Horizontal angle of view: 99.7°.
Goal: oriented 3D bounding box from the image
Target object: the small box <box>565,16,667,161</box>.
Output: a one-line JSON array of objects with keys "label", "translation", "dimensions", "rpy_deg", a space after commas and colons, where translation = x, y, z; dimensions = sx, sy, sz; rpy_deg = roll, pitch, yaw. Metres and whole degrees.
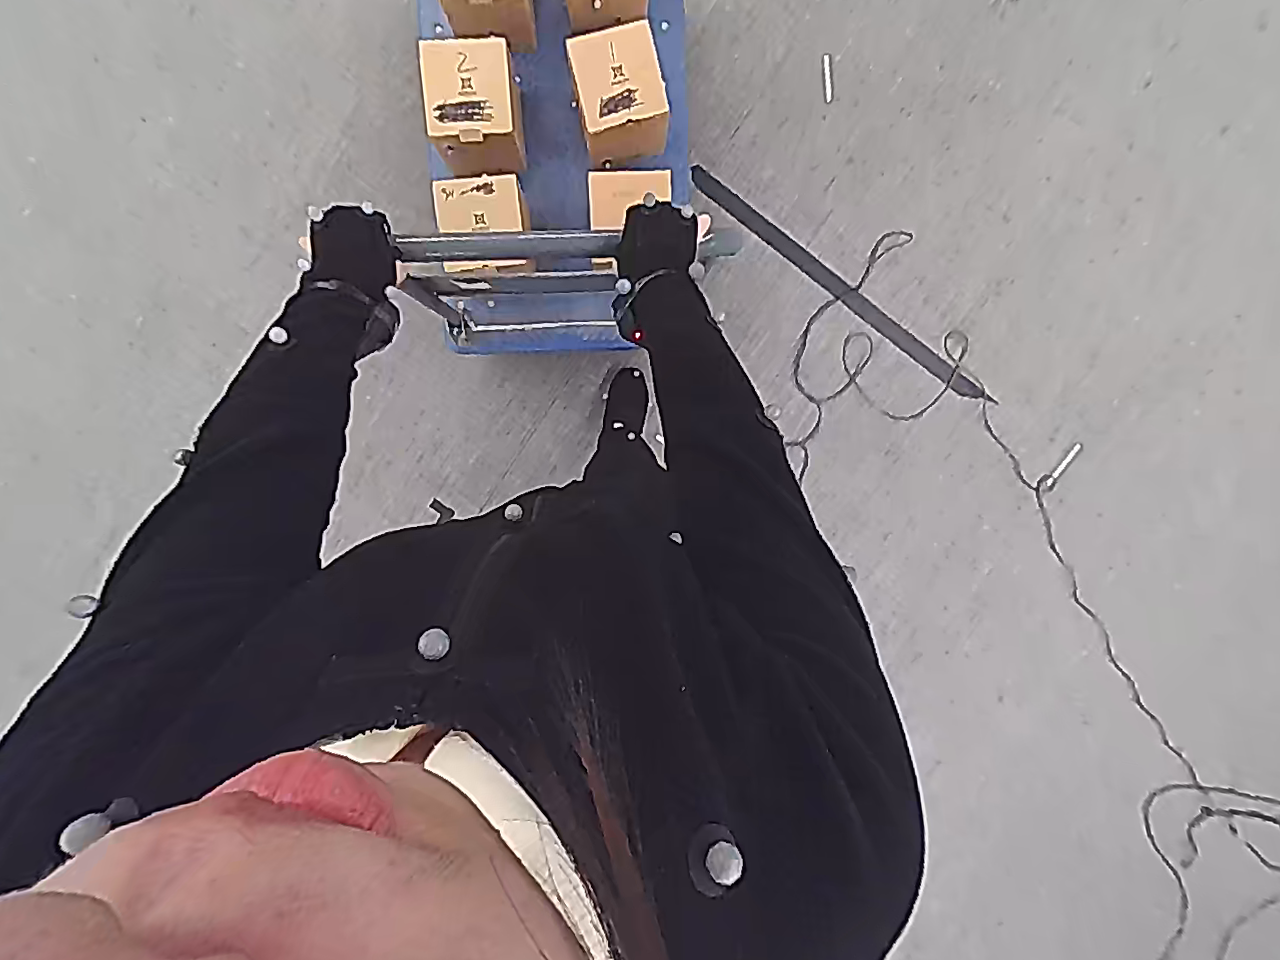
[{"label": "small box", "translation": [-0.047, -0.796, 1.123], "dimensions": [0.168, 0.176, 0.179], "rpy_deg": [-15, 97, -1]}]

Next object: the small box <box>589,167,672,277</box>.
[{"label": "small box", "translation": [-0.021, -0.541, 1.156], "dimensions": [0.168, 0.176, 0.179], "rpy_deg": [-3, 96, -3]}]

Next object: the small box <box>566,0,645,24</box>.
[{"label": "small box", "translation": [-0.077, -1.065, 1.090], "dimensions": [0.168, 0.176, 0.179], "rpy_deg": [-6, 97, -2]}]

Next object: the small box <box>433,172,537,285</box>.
[{"label": "small box", "translation": [-0.318, -0.520, 1.142], "dimensions": [0.168, 0.176, 0.179], "rpy_deg": [-7, 97, -3]}]

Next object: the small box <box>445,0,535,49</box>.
[{"label": "small box", "translation": [-0.307, -1.016, 1.084], "dimensions": [0.168, 0.176, 0.179], "rpy_deg": [-1, 98, -2]}]
